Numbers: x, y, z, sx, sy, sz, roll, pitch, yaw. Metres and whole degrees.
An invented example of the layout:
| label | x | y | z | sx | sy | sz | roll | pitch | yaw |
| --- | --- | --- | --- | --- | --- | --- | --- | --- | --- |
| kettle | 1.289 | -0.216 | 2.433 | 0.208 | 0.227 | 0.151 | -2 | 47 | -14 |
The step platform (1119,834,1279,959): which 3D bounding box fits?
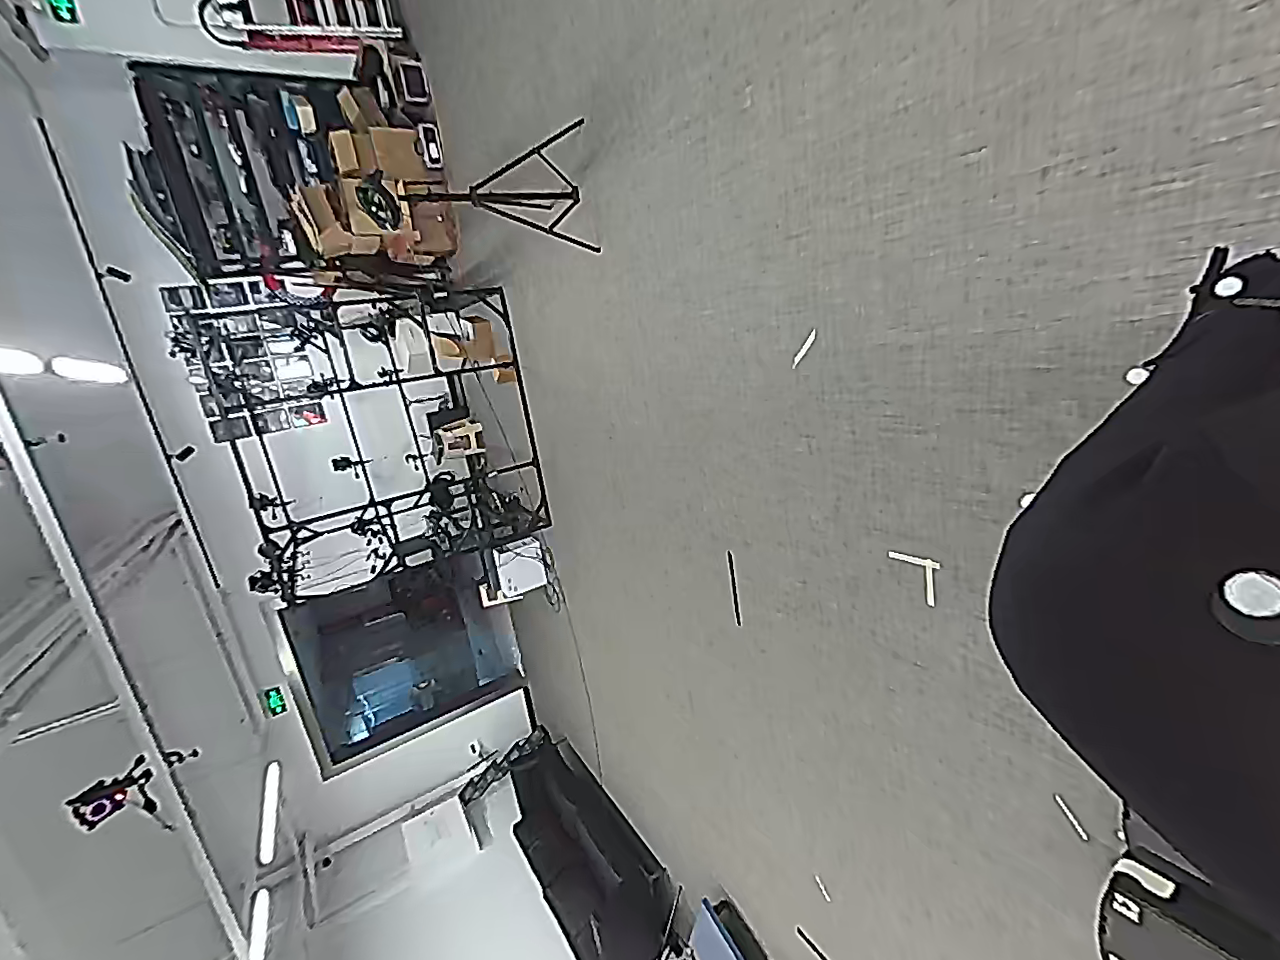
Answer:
| label | x | y | z | sx | sy | sz | roll | pitch | yaw |
| --- | --- | --- | --- | --- | --- | --- | --- | --- | --- |
| step platform | 1.396 | 1.067 | 1.063 | 0.684 | 0.204 | 0.286 | 15 | 118 | 59 |
